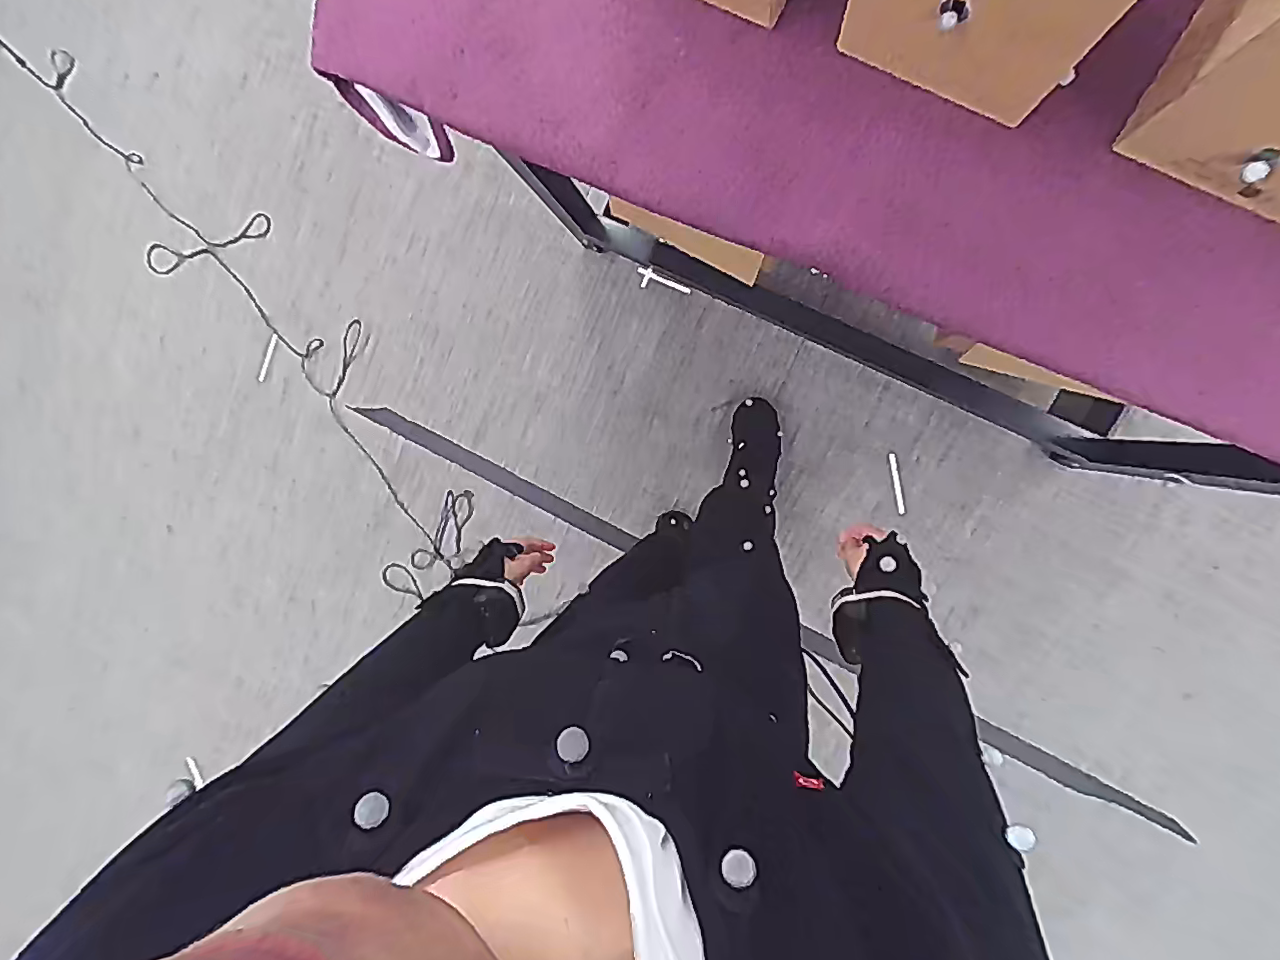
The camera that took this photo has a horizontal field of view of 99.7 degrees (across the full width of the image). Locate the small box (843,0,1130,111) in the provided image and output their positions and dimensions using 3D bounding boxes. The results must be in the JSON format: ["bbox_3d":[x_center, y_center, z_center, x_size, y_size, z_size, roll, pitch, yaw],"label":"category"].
[{"bbox_3d":[0.274,-0.410,0.386,0.179,0.176,0.168,29,100,7],"label":"small box"}]
